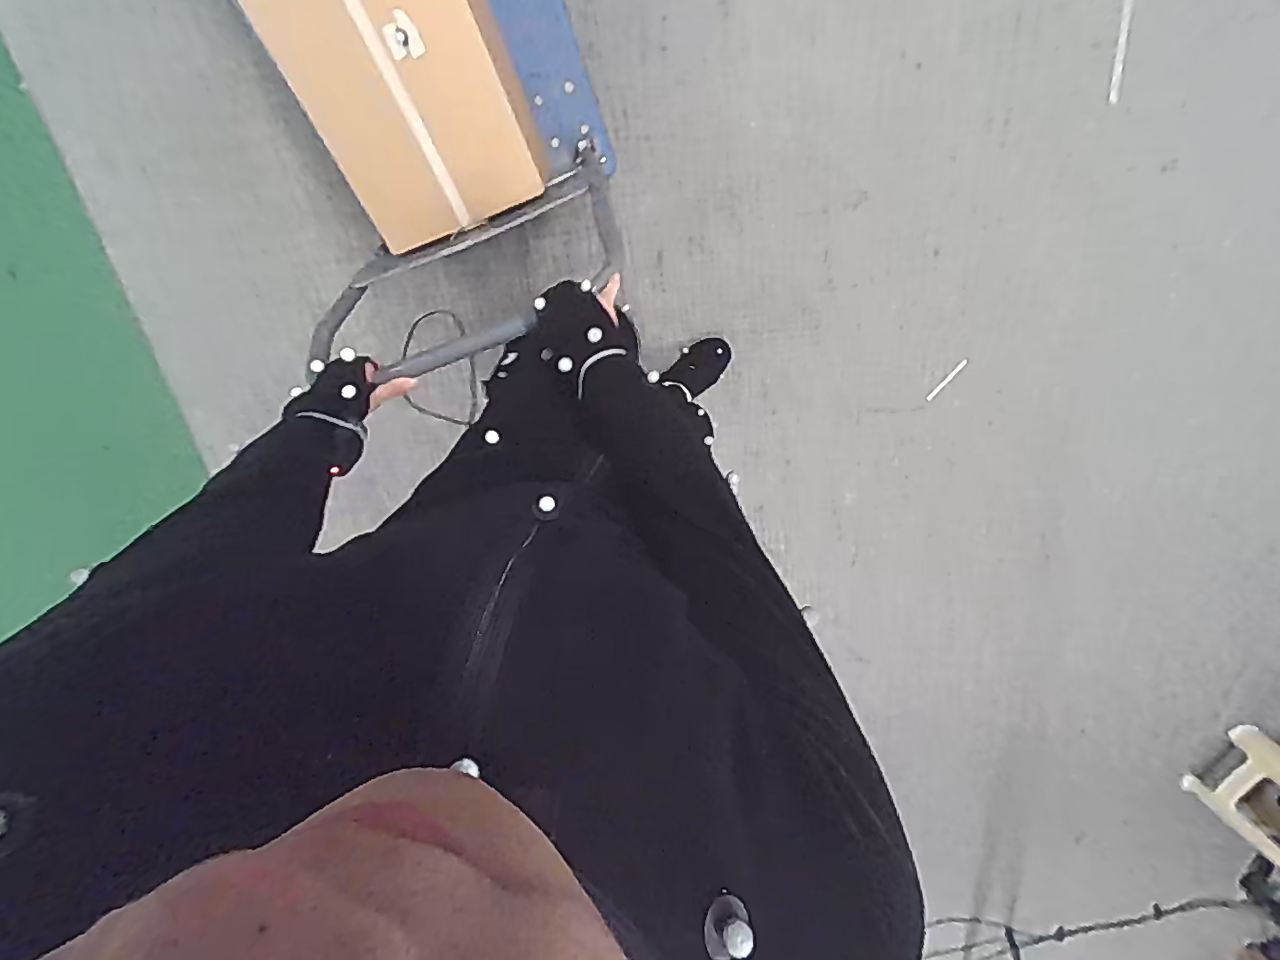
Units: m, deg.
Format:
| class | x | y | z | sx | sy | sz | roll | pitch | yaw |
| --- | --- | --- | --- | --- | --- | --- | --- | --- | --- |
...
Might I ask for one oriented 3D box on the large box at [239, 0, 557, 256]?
| class | x | y | z | sx | sy | sz | roll | pitch | yaw |
| --- | --- | --- | --- | --- | --- | --- | --- | --- | --- |
| large box | -0.384 | -0.697 | 0.994 | 0.320 | 0.320 | 0.408 | -19 | 125 | 8 |
